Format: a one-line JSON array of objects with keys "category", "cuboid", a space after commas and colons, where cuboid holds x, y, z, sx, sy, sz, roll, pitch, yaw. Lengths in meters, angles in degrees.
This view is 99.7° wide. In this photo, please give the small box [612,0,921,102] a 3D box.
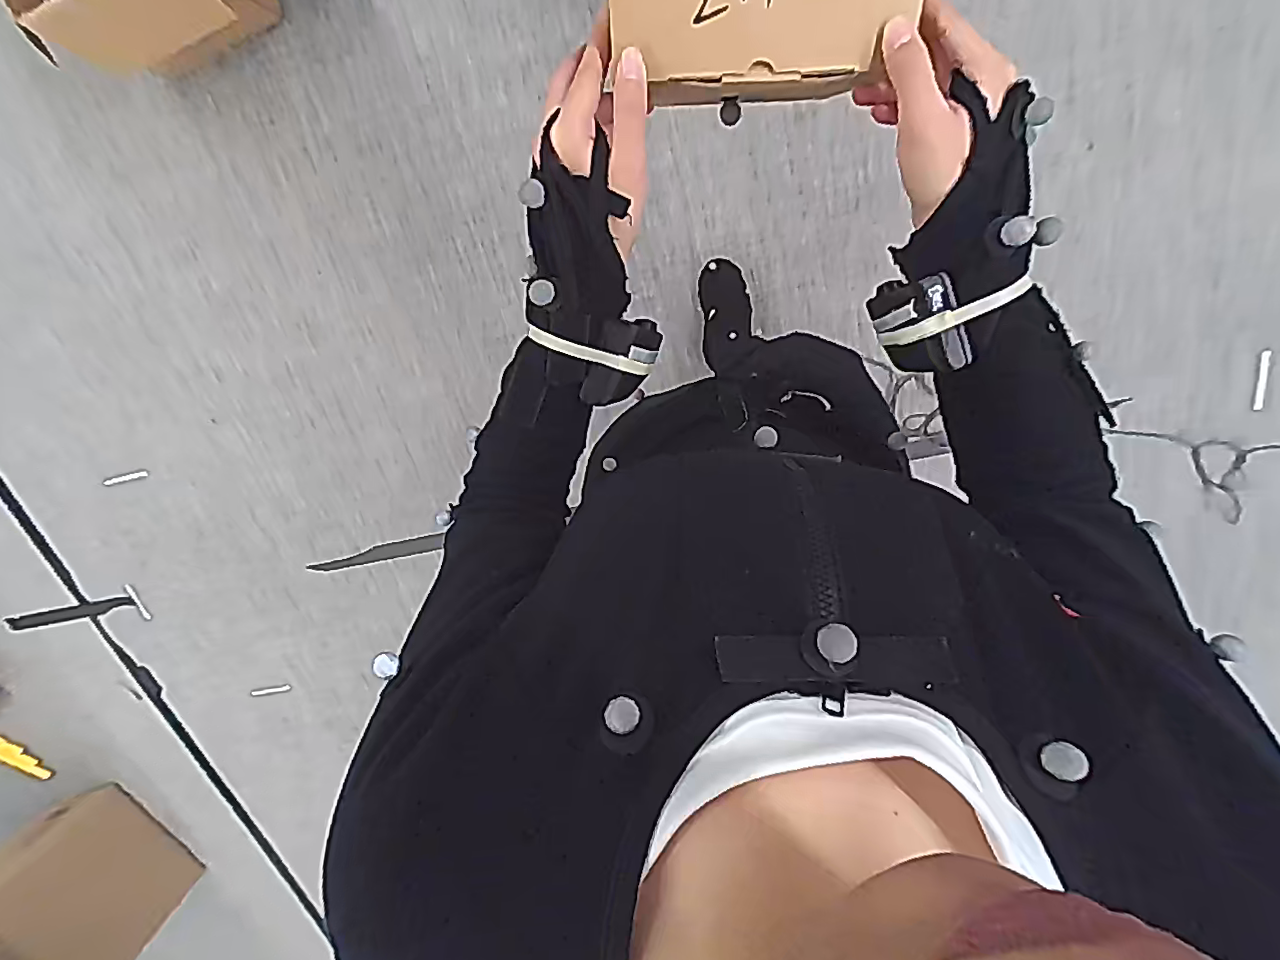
[{"category": "small box", "cuboid": [0.065, -0.345, 0.325, 0.168, 0.176, 0.179, -1, 120, 1]}]
